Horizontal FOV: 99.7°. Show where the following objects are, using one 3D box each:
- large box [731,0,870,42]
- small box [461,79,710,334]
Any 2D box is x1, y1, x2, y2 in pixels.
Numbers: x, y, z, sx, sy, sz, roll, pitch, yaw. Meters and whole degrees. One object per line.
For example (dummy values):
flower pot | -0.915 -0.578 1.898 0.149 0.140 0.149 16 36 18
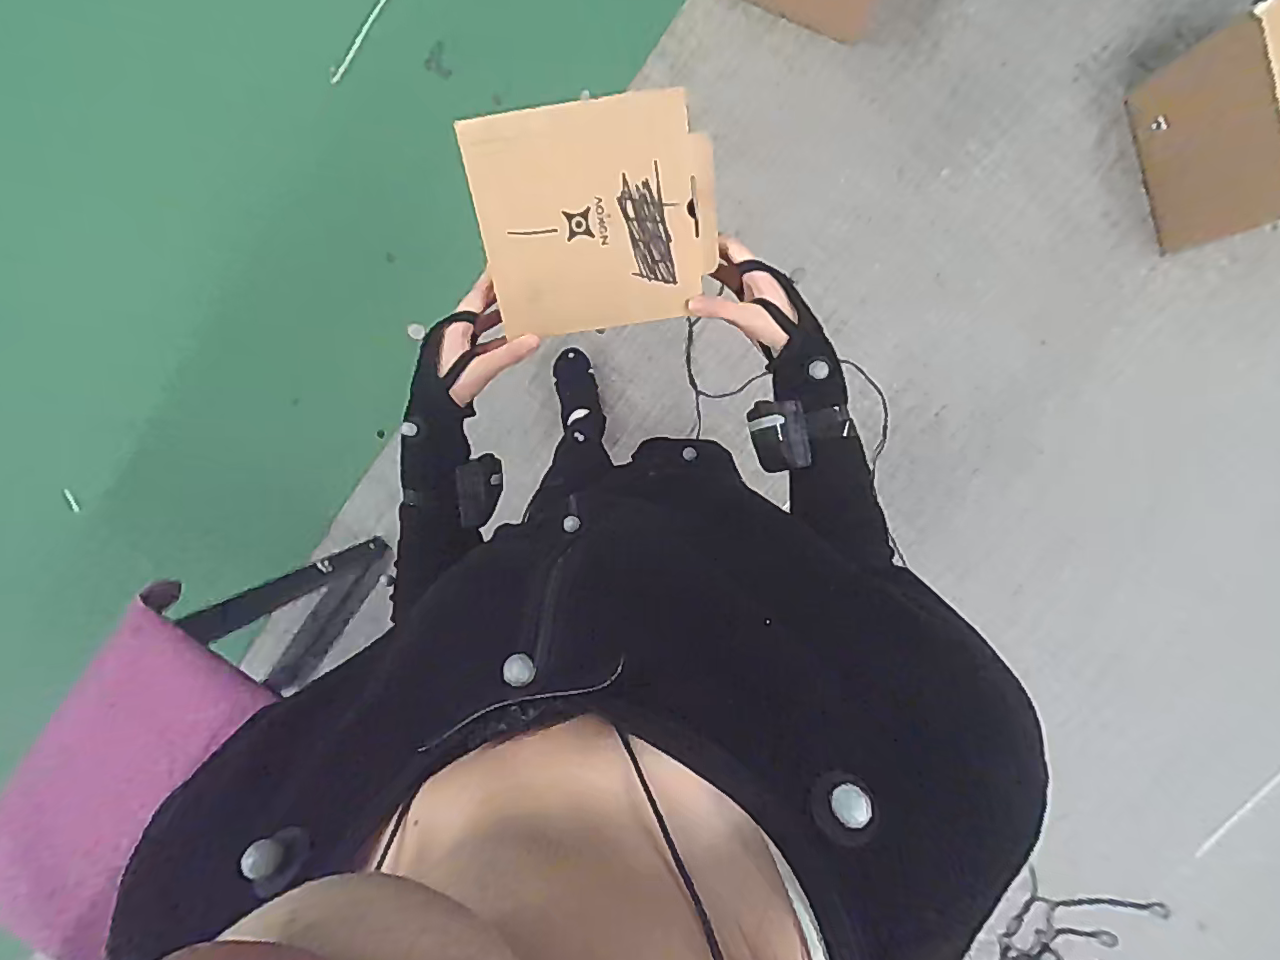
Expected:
large box | 0.377 -1.270 1.175 0.408 0.320 0.320 23 97 2
small box | -0.040 -0.241 0.496 0.179 0.176 0.168 -8 115 1
